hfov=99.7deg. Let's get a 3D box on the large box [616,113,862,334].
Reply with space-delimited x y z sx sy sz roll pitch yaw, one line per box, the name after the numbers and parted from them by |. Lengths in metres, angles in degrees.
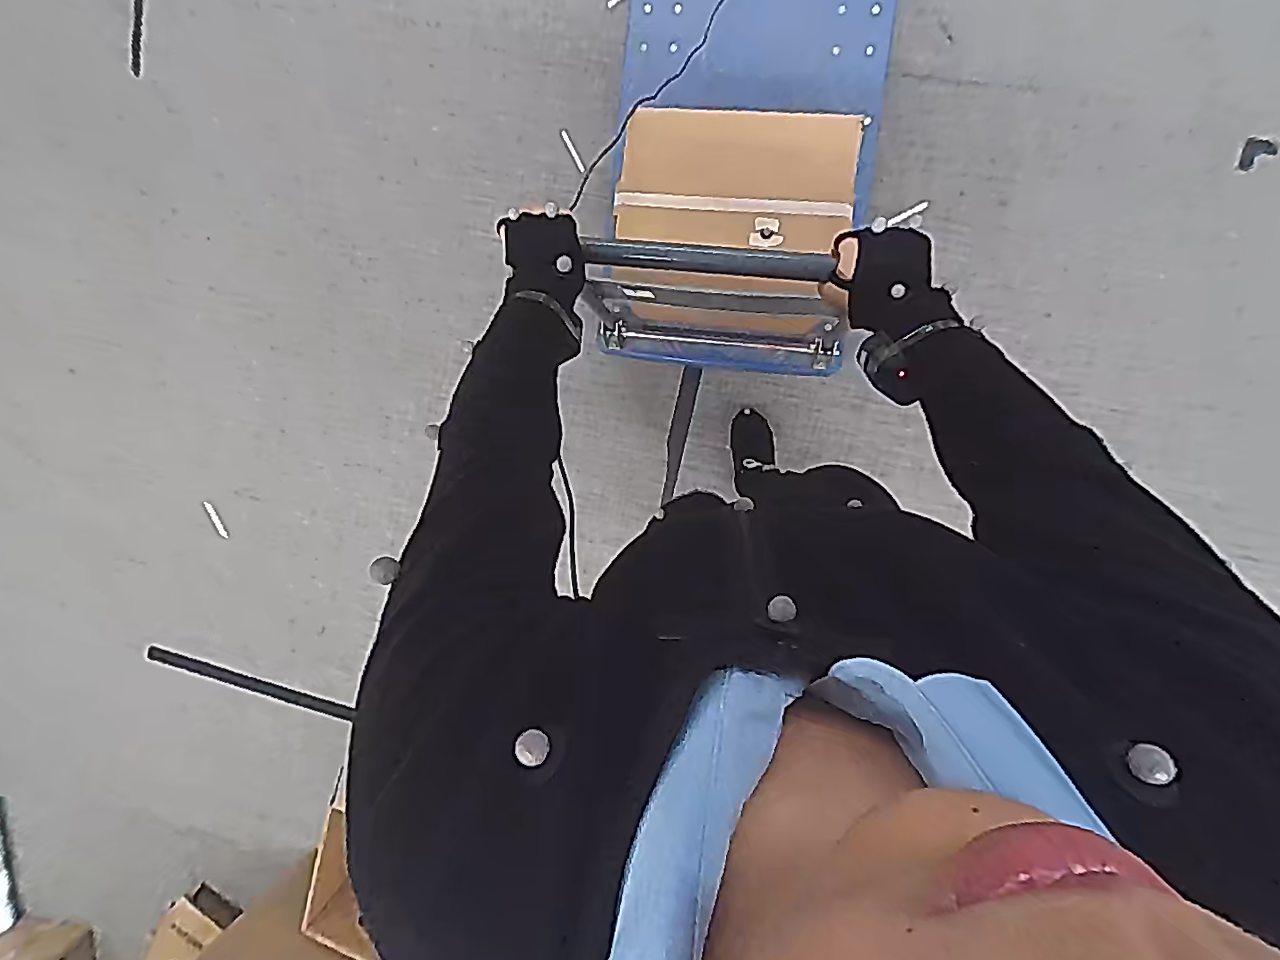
0.182 -0.489 1.094 0.408 0.320 0.320 7 97 7 | large box
